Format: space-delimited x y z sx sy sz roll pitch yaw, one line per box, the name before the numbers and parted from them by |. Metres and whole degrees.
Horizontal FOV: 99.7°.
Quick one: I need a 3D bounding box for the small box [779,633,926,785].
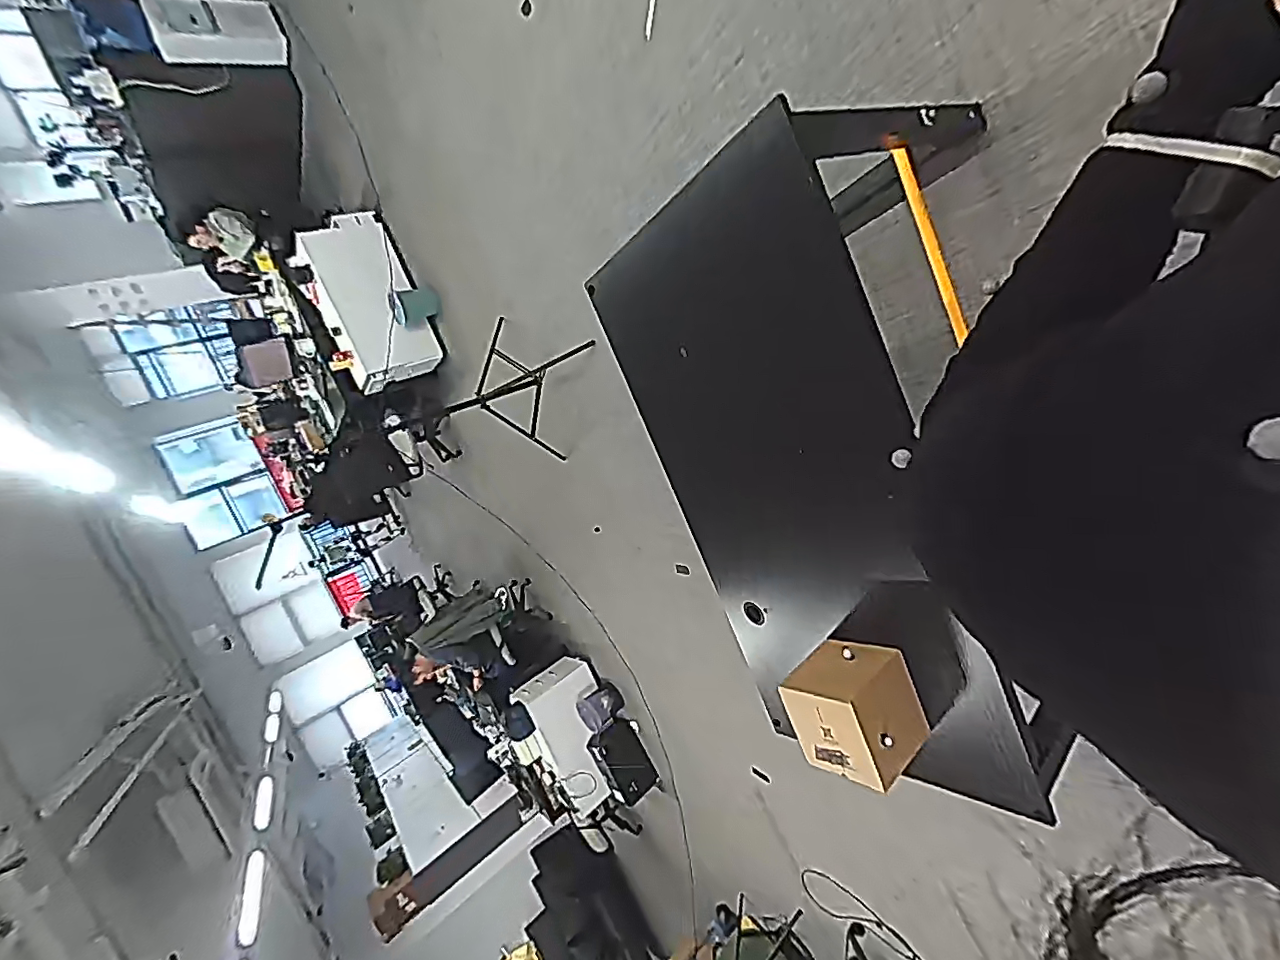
small box | 0.400 0.415 1.011 0.168 0.176 0.179 -13 102 56
